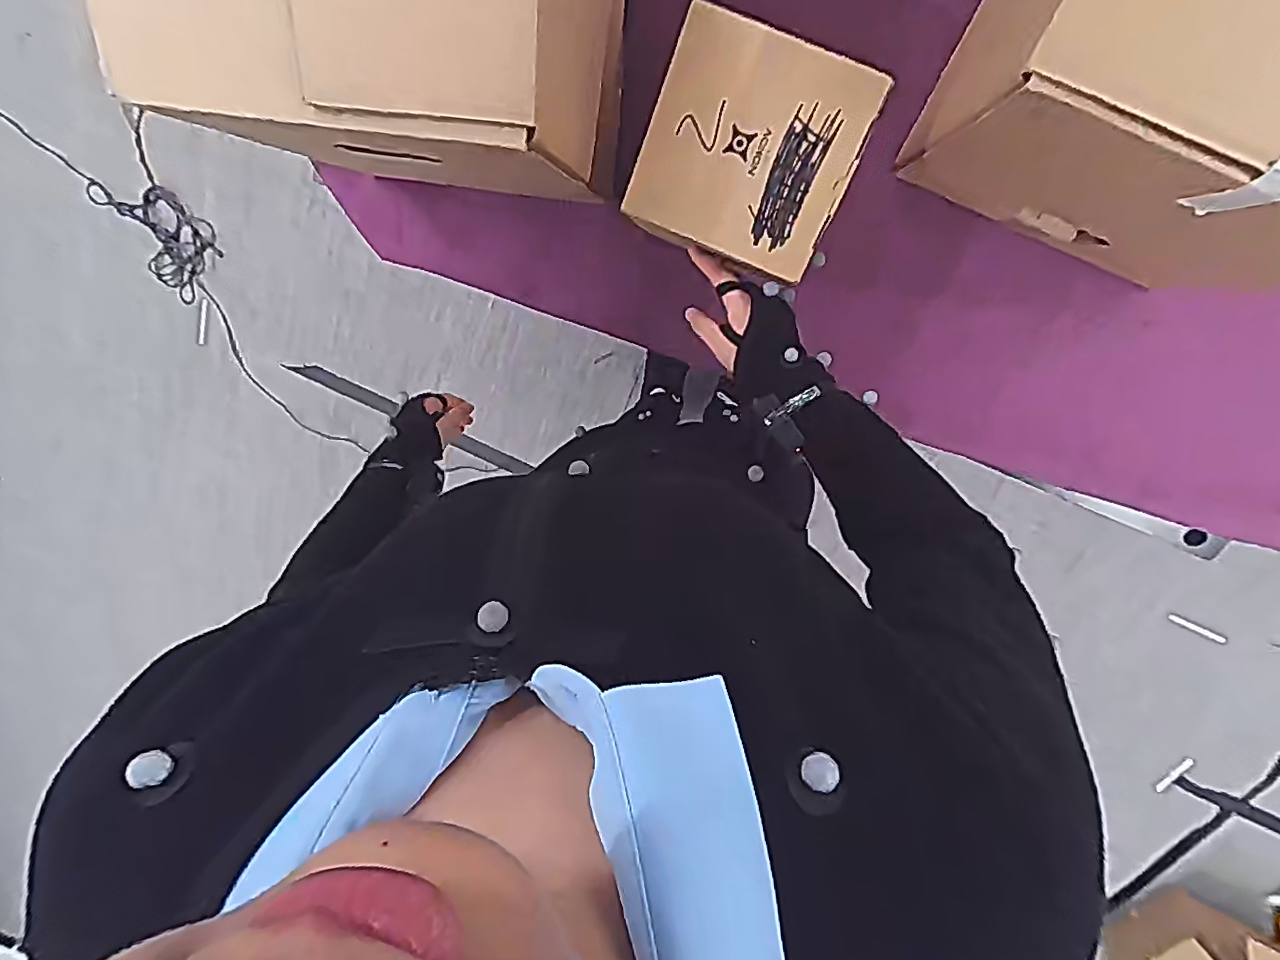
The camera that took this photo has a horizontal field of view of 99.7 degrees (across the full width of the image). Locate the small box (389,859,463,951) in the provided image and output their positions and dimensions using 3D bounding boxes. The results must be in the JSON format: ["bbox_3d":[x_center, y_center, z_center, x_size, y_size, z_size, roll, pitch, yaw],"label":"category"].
[{"bbox_3d":[-0.761,1.520,1.939,0.168,0.176,0.179,29,111,-1],"label":"small box"}]

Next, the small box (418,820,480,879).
[{"bbox_3d":[-0.742,1.468,2.093,0.168,0.176,0.179,23,112,2],"label":"small box"}]
